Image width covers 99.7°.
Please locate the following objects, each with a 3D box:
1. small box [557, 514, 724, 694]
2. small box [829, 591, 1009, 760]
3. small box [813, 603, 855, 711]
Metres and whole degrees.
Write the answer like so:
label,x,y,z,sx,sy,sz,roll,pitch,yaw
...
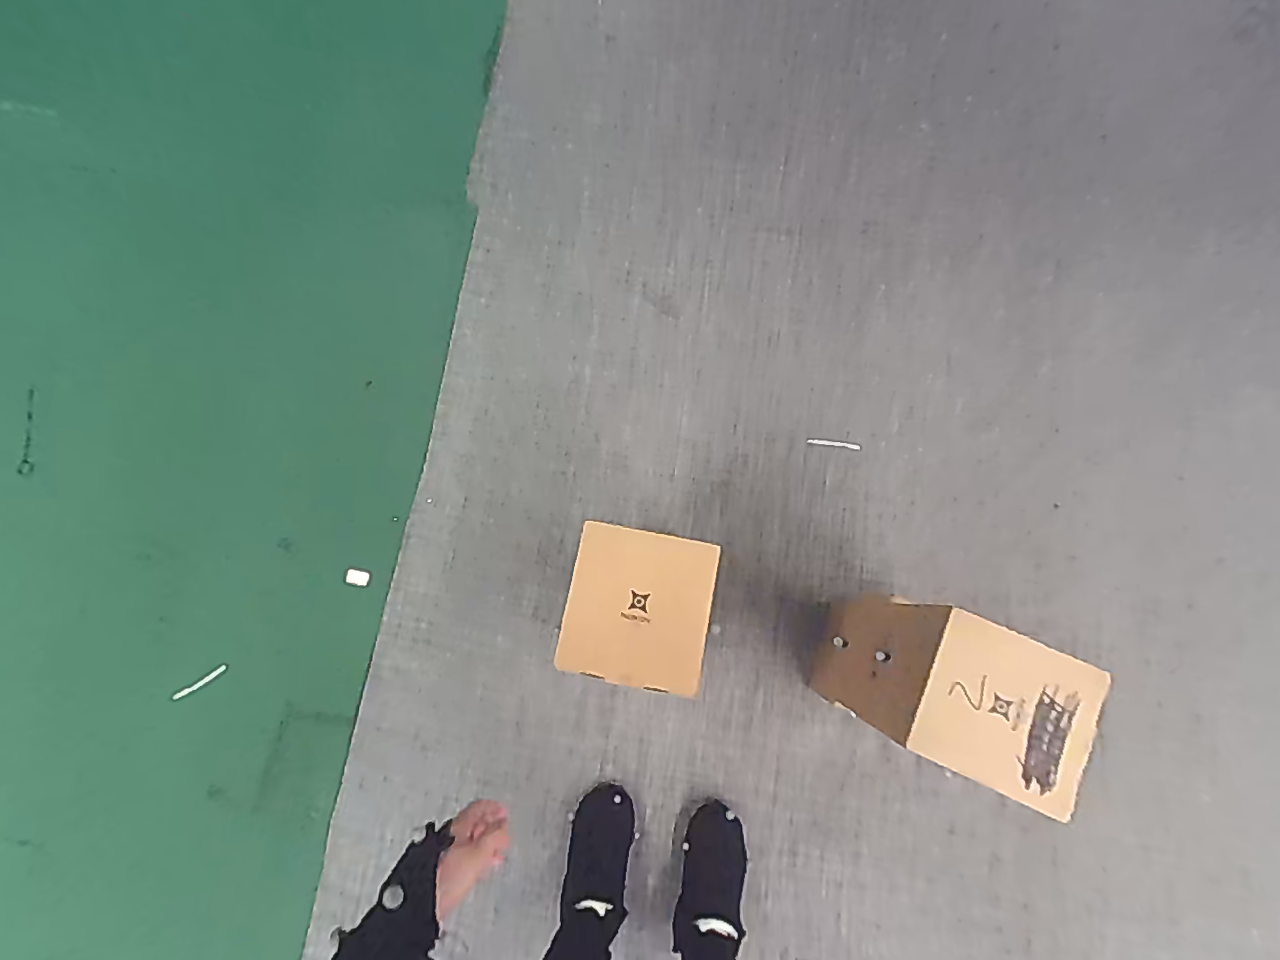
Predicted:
label,x,y,z,sx,sy,sz,roll,pitch,yaw
small box,0.005,0.155,0.693,0.168,0.176,0.179,10,78,5
small box,0.403,0.279,0.814,0.168,0.176,0.179,22,80,7
small box,0.427,0.328,0.969,0.168,0.176,0.179,18,80,6
